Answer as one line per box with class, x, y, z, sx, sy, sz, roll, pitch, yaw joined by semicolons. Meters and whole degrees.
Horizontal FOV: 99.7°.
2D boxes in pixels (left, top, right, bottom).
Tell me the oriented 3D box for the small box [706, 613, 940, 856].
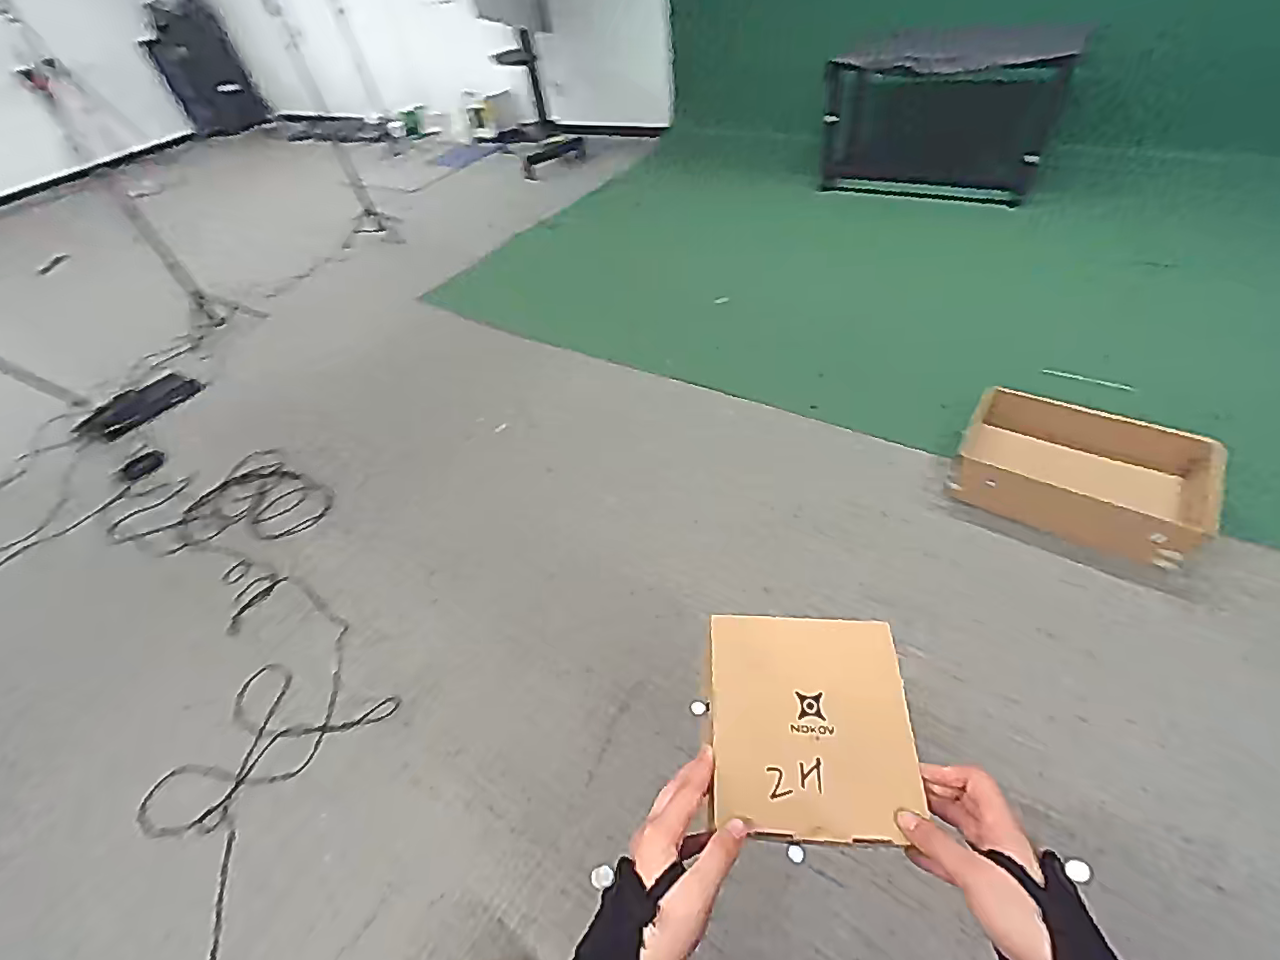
small box;0.151;0.245;0.517;0.168;0.176;0.179;3;57;5
